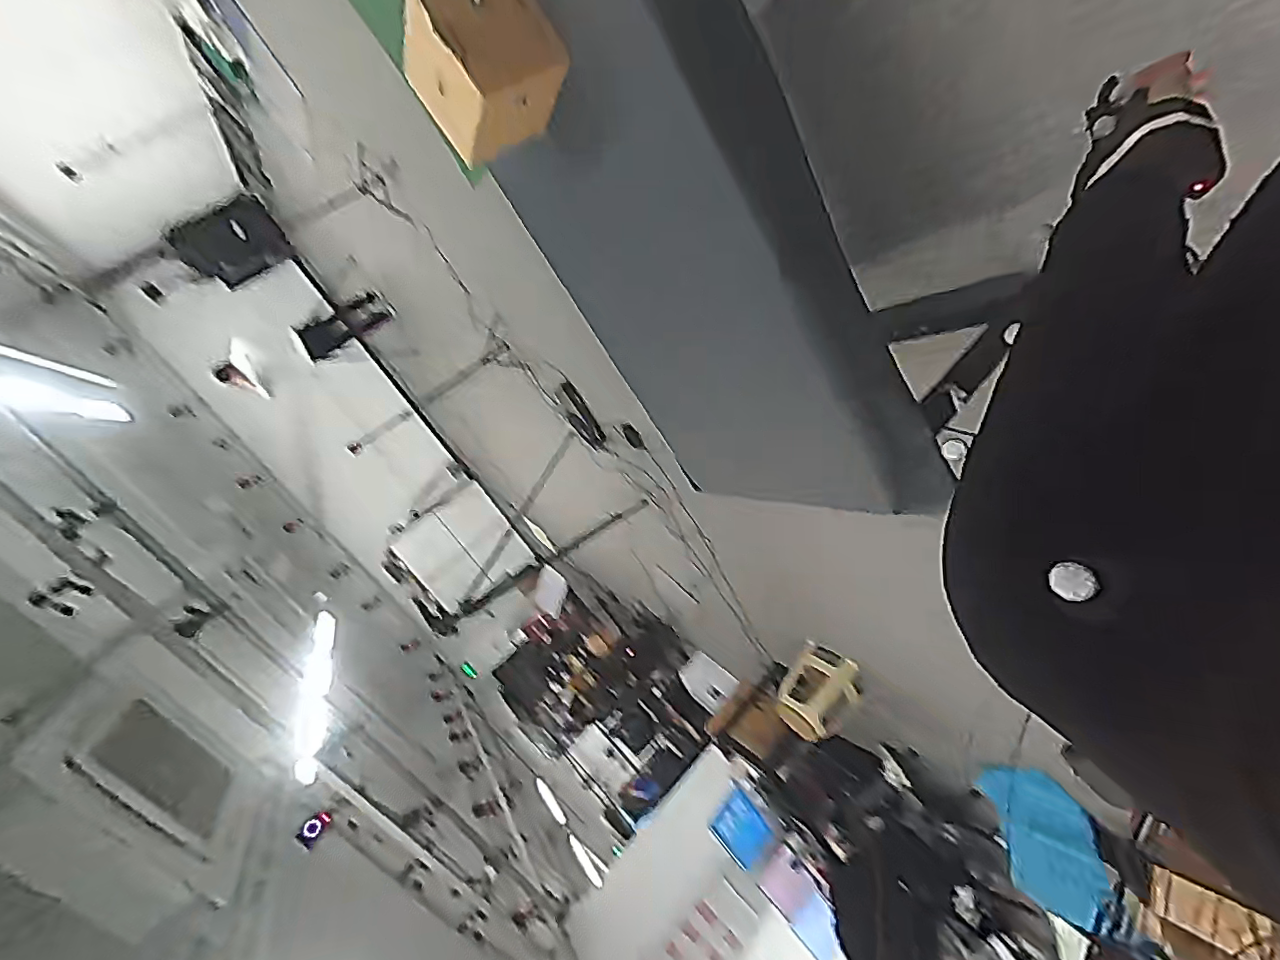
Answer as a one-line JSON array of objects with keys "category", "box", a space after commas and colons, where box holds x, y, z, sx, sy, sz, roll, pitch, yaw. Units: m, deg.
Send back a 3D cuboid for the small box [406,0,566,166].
[{"category": "small box", "box": [-0.239, -0.645, 0.845, 0.168, 0.176, 0.179, 54, 160, -12]}]
